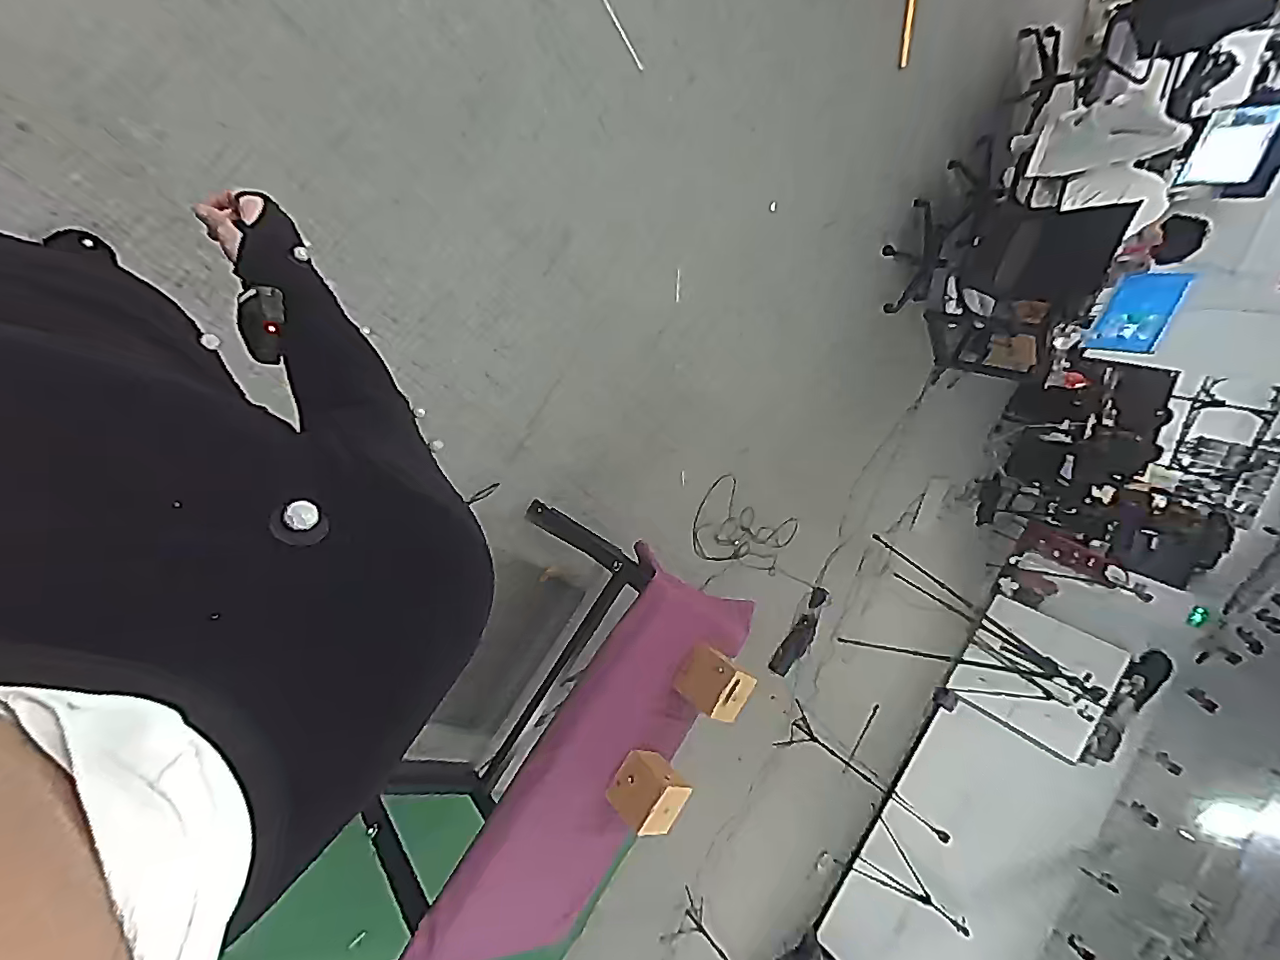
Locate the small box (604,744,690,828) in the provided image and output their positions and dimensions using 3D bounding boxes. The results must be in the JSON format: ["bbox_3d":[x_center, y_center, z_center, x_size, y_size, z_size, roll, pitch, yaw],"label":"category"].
[{"bbox_3d":[0.022,0.972,1.725,0.168,0.176,0.179,-56,137,-6],"label":"small box"}]
